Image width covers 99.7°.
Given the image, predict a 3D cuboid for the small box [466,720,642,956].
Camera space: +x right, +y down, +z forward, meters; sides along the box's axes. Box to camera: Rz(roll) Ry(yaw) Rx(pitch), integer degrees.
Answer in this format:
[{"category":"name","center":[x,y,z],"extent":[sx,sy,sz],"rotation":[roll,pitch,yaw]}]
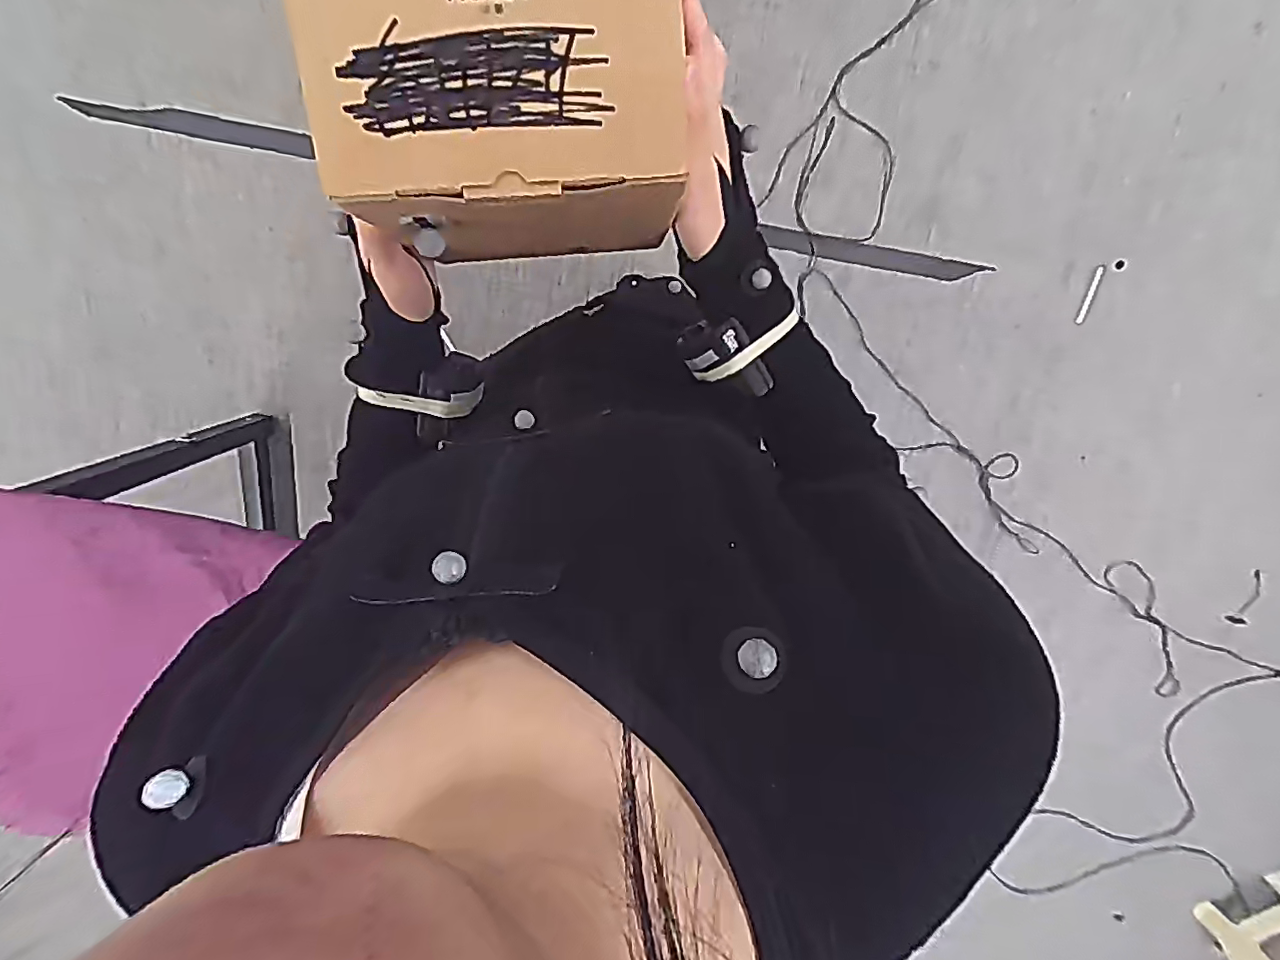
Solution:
[{"category":"small box","center":[-0.094,0.407,0.635],"extent":[0.179,0.176,0.168],"rotation":[4,111,-4]}]
